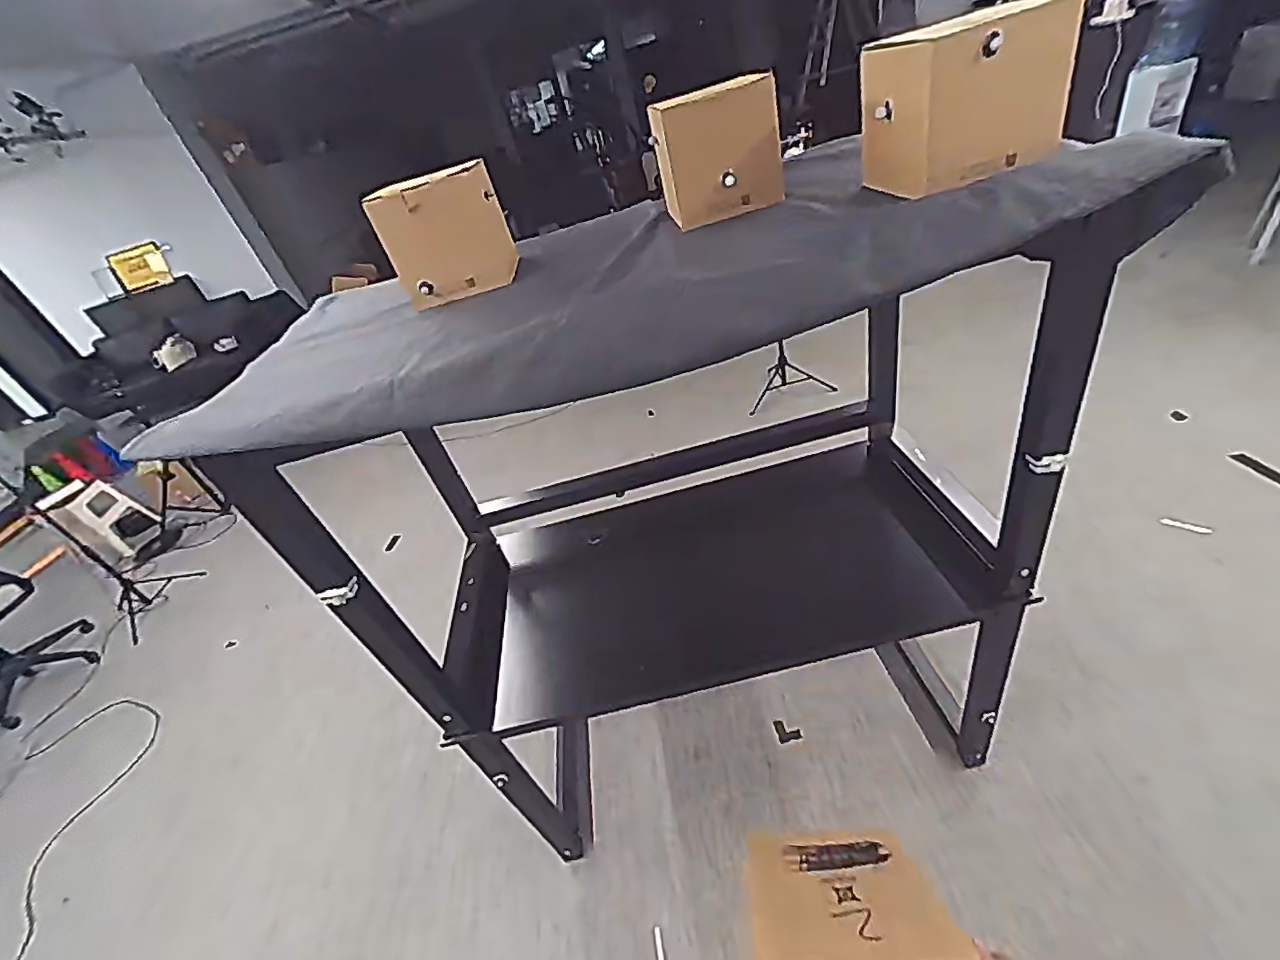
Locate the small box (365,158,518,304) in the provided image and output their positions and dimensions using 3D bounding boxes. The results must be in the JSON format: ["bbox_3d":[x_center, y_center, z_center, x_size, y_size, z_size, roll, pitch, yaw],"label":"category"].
[{"bbox_3d":[-0.312,-0.407,0.894,0.168,0.176,0.179,-15,35,3],"label":"small box"}]

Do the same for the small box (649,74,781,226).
[{"bbox_3d":[0.119,-0.528,0.873,0.168,0.176,0.179,-15,36,4],"label":"small box"}]
